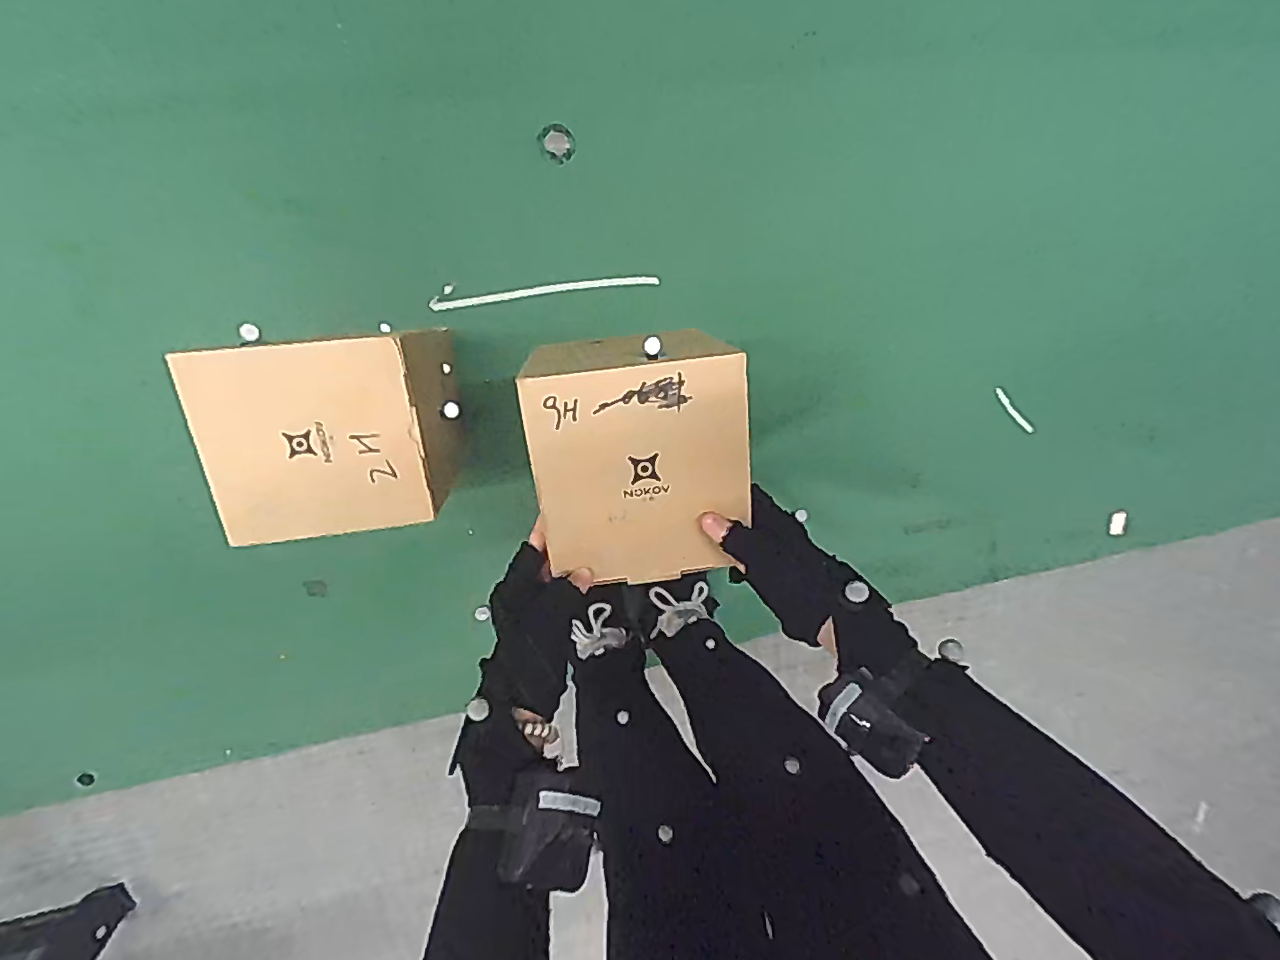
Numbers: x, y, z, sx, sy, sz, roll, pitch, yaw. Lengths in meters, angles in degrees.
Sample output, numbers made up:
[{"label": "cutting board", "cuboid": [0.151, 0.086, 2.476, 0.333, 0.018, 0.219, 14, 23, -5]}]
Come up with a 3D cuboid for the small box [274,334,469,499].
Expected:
[{"label": "small box", "cuboid": [-0.322, -0.090, 0.692, 0.168, 0.176, 0.179, -6, 107, -8]}]

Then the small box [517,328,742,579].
[{"label": "small box", "cuboid": [-0.008, -0.035, 0.496, 0.168, 0.176, 0.179, -8, 111, -3]}]
